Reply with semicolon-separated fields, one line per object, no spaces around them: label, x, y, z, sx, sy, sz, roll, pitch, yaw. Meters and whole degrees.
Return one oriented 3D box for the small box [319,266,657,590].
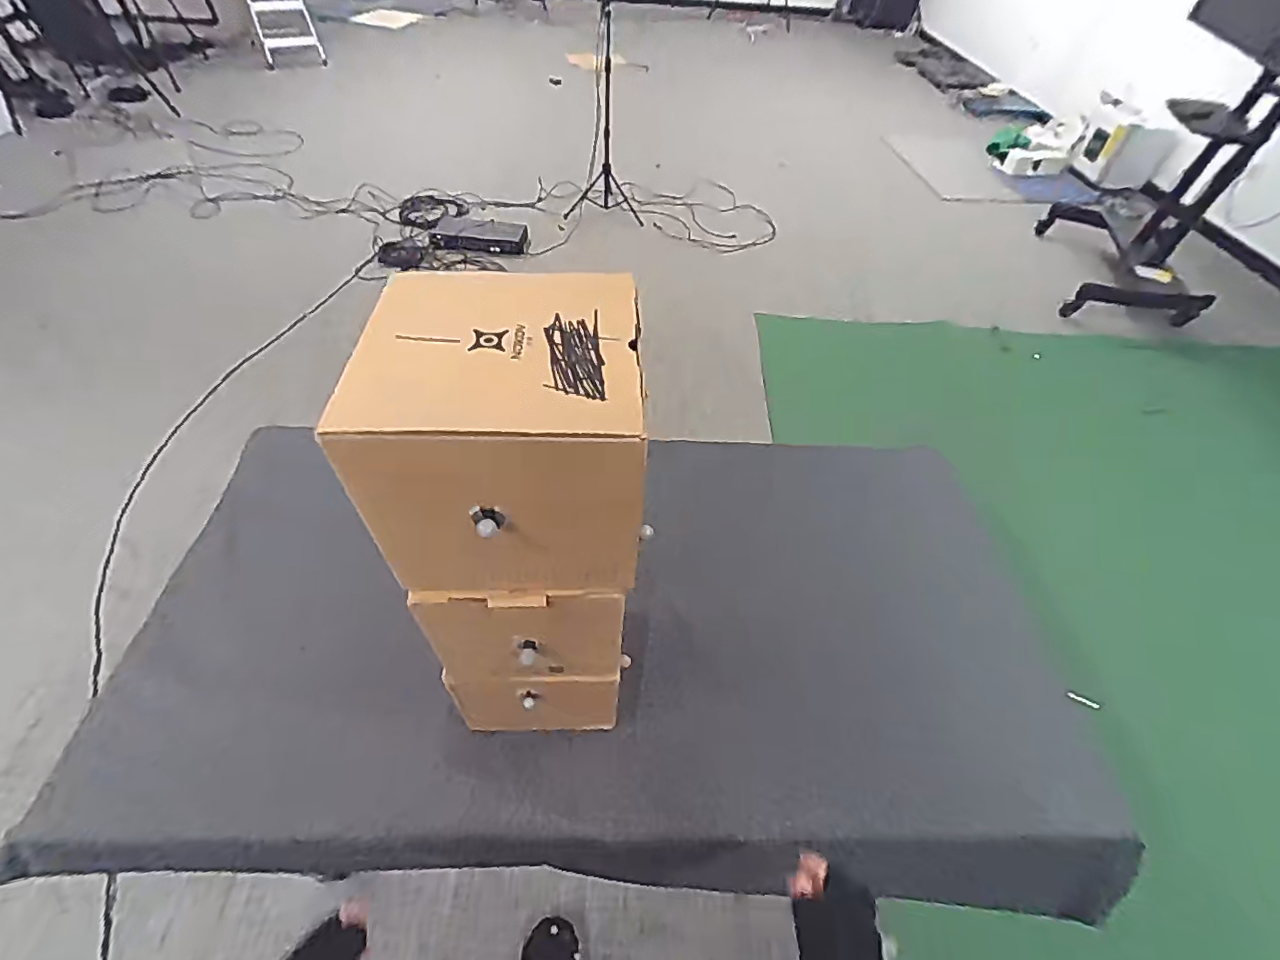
small box;-0.090;-0.032;0.394;0.179;0.176;0.168;-1;51;-7

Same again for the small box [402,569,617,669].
small box;-0.105;0.073;0.521;0.168;0.176;0.179;0;51;-4

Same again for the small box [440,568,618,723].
small box;-0.117;0.181;0.643;0.179;0.176;0.168;2;51;-5
